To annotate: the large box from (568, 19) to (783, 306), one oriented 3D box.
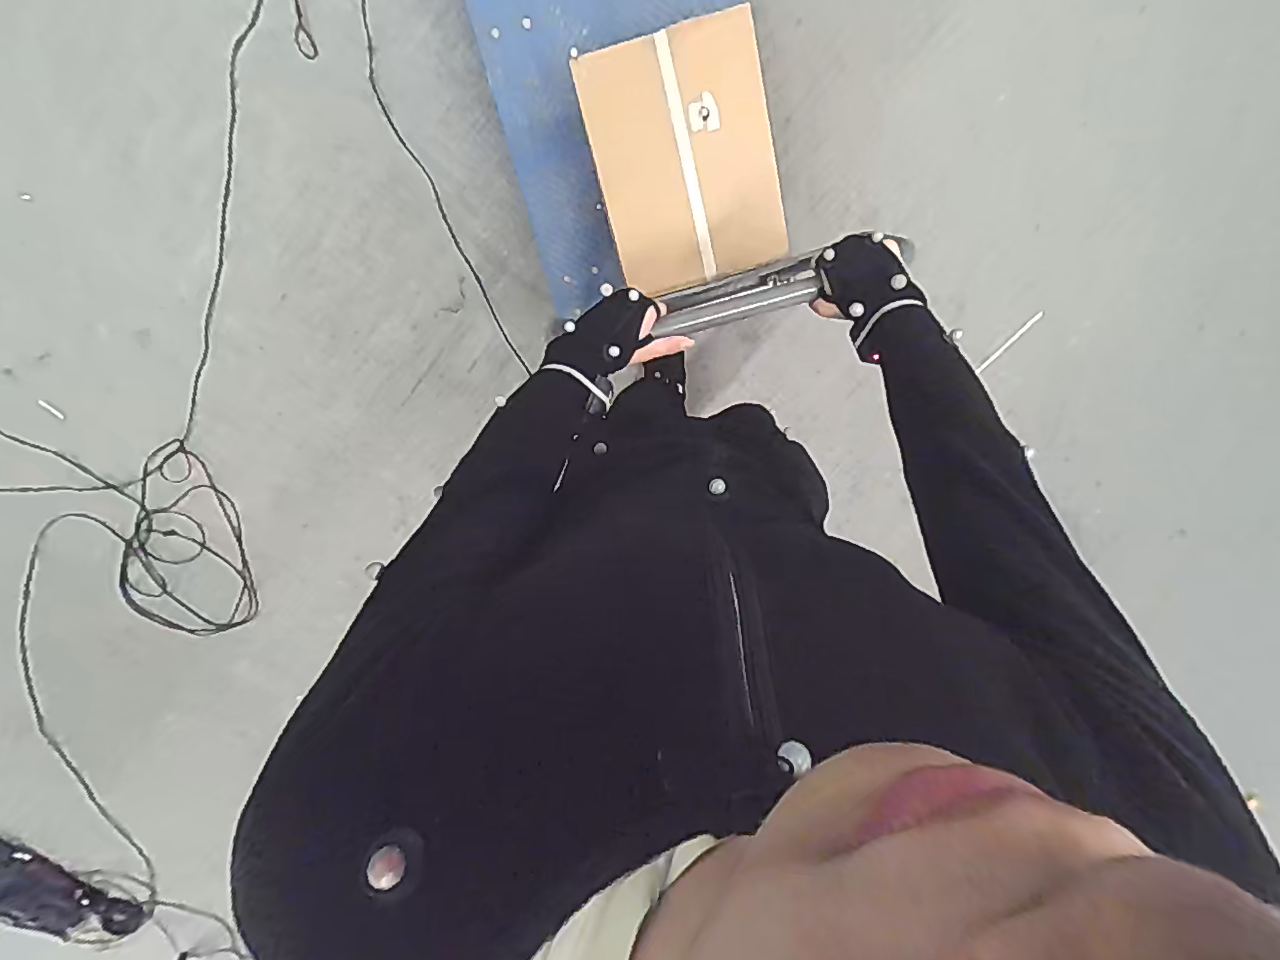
[{"bbox_3d":[0.073,-0.606,1.123,0.320,0.320,0.408,-15,107,3],"label":"large box"}]
